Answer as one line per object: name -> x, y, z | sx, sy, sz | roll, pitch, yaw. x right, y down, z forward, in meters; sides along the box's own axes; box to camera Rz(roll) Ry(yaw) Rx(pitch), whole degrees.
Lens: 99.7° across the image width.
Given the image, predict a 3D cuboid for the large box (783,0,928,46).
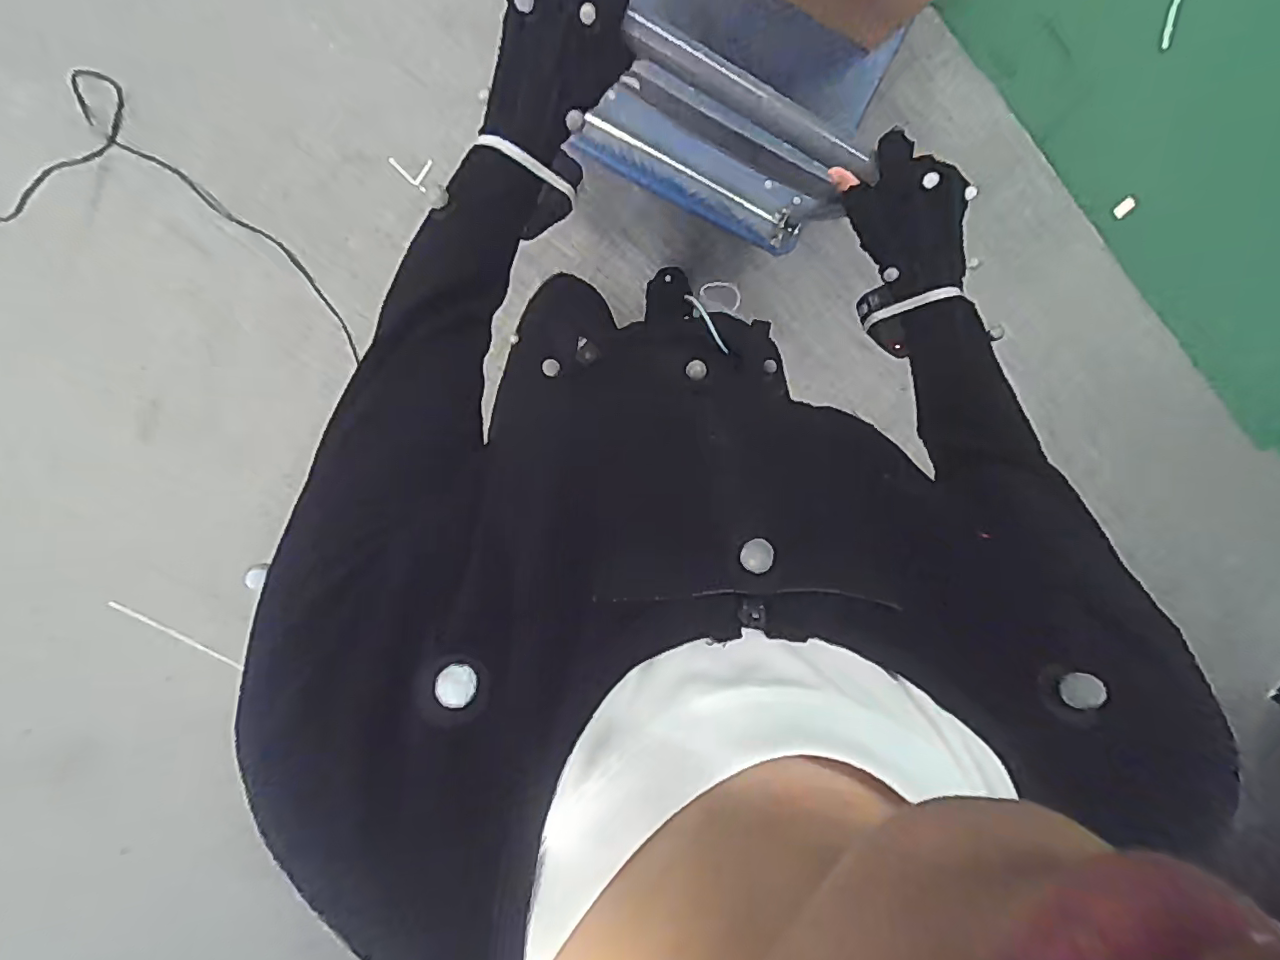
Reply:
large box -> 0.322, -0.965, 0.816 | 0.408, 0.320, 0.320 | 21, 108, -9
